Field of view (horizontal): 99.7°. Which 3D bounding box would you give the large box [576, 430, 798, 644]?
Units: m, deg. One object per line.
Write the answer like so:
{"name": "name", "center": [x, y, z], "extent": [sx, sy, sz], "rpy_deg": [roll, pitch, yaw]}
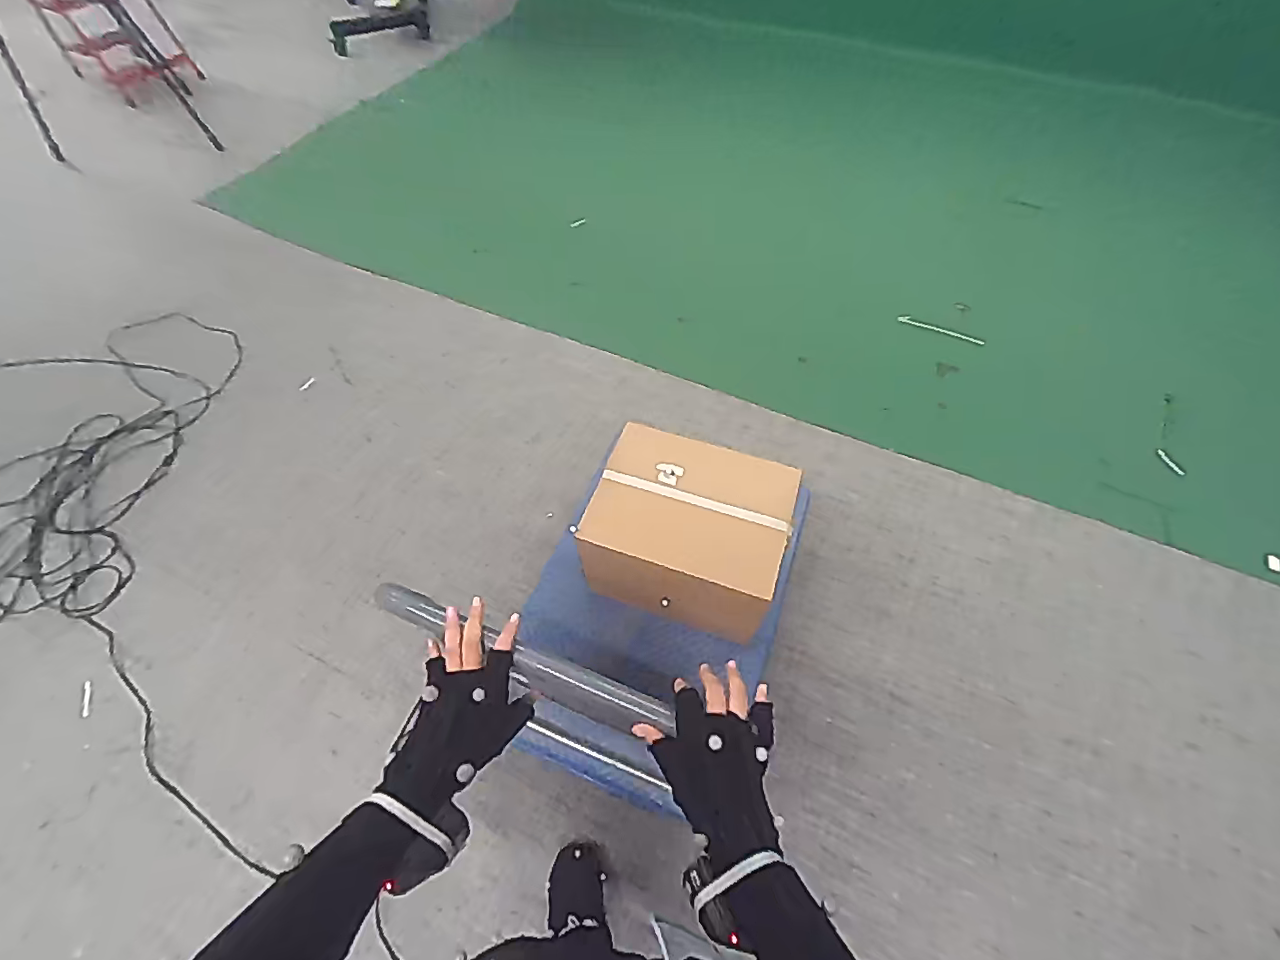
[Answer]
{"name": "large box", "center": [0.111, 0.137, 1.251], "extent": [0.408, 0.320, 0.320], "rpy_deg": [17, 58, 12]}
